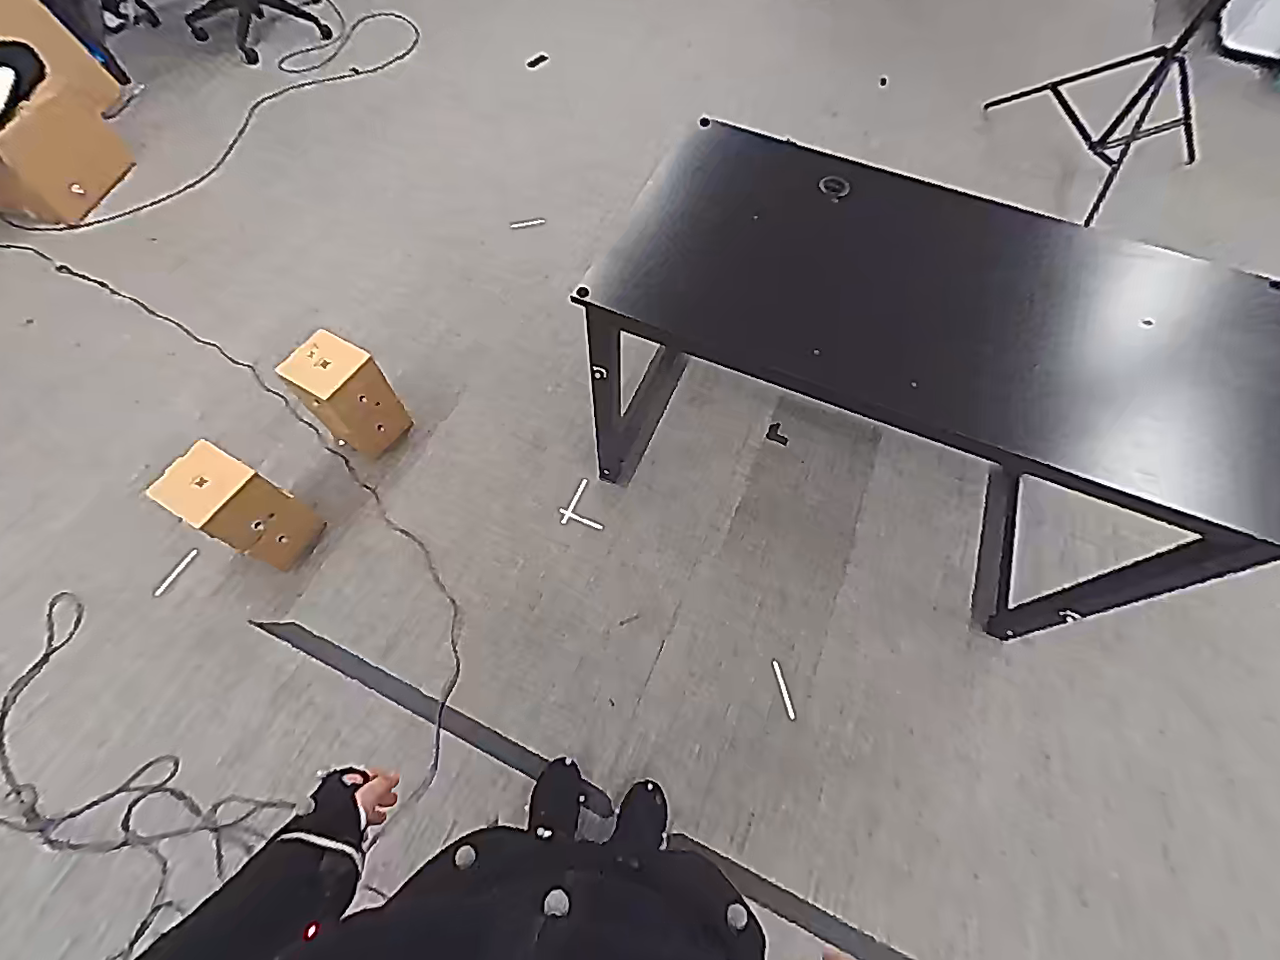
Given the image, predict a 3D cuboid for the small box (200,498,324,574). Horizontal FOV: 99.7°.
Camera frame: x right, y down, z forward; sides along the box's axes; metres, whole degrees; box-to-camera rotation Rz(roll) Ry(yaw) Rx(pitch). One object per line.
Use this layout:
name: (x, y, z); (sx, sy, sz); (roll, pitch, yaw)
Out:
small box: (-0.989, 0.128, 1.436); (0.168, 0.176, 0.179); (23, 66, 9)

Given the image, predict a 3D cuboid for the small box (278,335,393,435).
small box: (-0.800, -0.245, 1.444); (0.179, 0.176, 0.168); (27, 64, 12)

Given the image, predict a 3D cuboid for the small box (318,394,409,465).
small box: (-0.812, -0.179, 1.595); (0.168, 0.176, 0.179); (30, 67, 13)

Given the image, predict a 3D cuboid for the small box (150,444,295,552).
small box: (-0.985, 0.050, 1.293); (0.179, 0.176, 0.168); (27, 67, 10)
